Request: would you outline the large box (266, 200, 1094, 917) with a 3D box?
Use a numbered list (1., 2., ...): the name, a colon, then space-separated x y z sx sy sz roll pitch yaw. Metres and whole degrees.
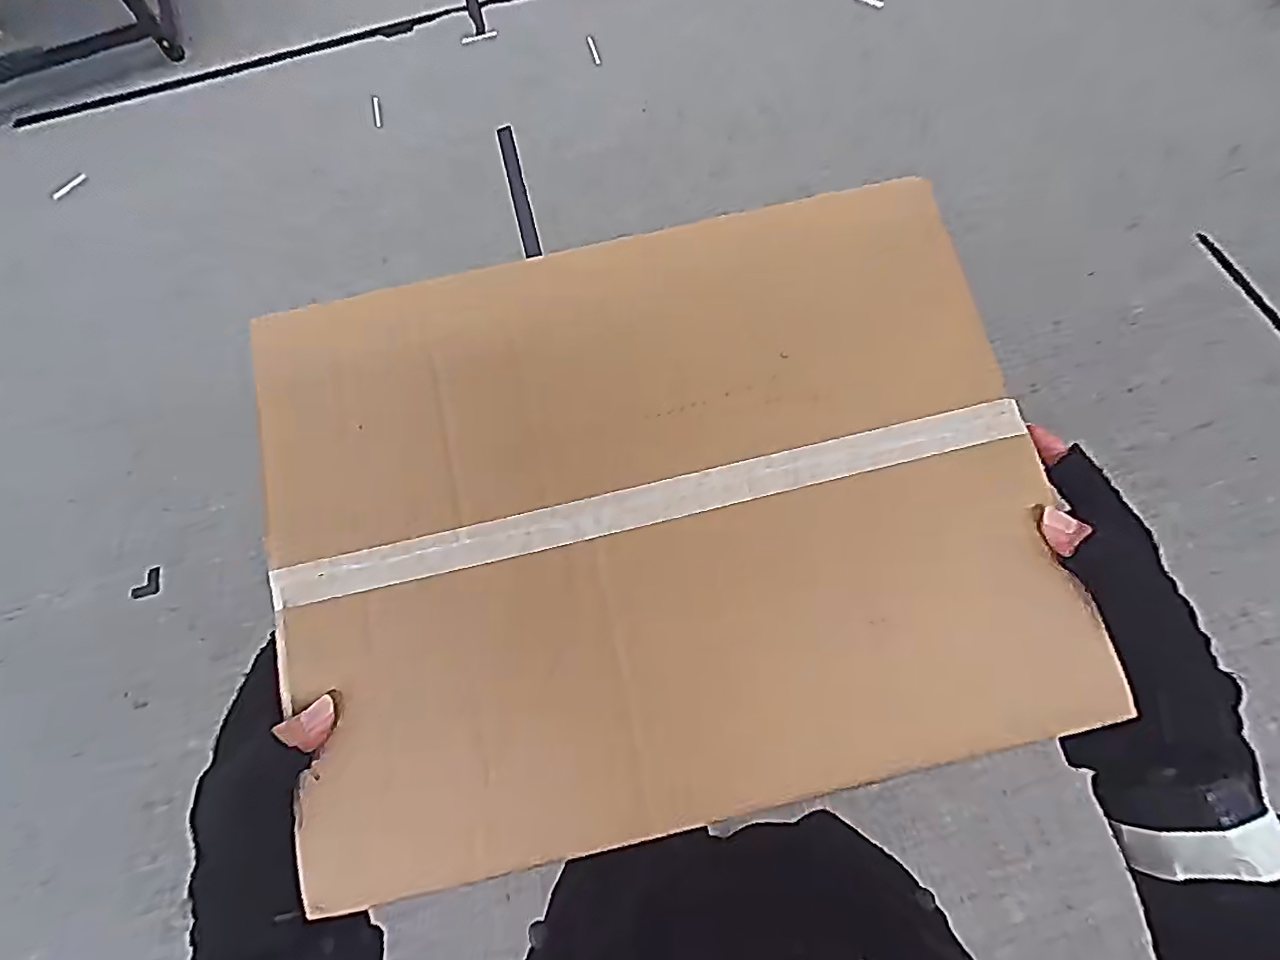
1. large box: 0.010 0.048 0.442 0.408 0.320 0.320 -13 78 -1
